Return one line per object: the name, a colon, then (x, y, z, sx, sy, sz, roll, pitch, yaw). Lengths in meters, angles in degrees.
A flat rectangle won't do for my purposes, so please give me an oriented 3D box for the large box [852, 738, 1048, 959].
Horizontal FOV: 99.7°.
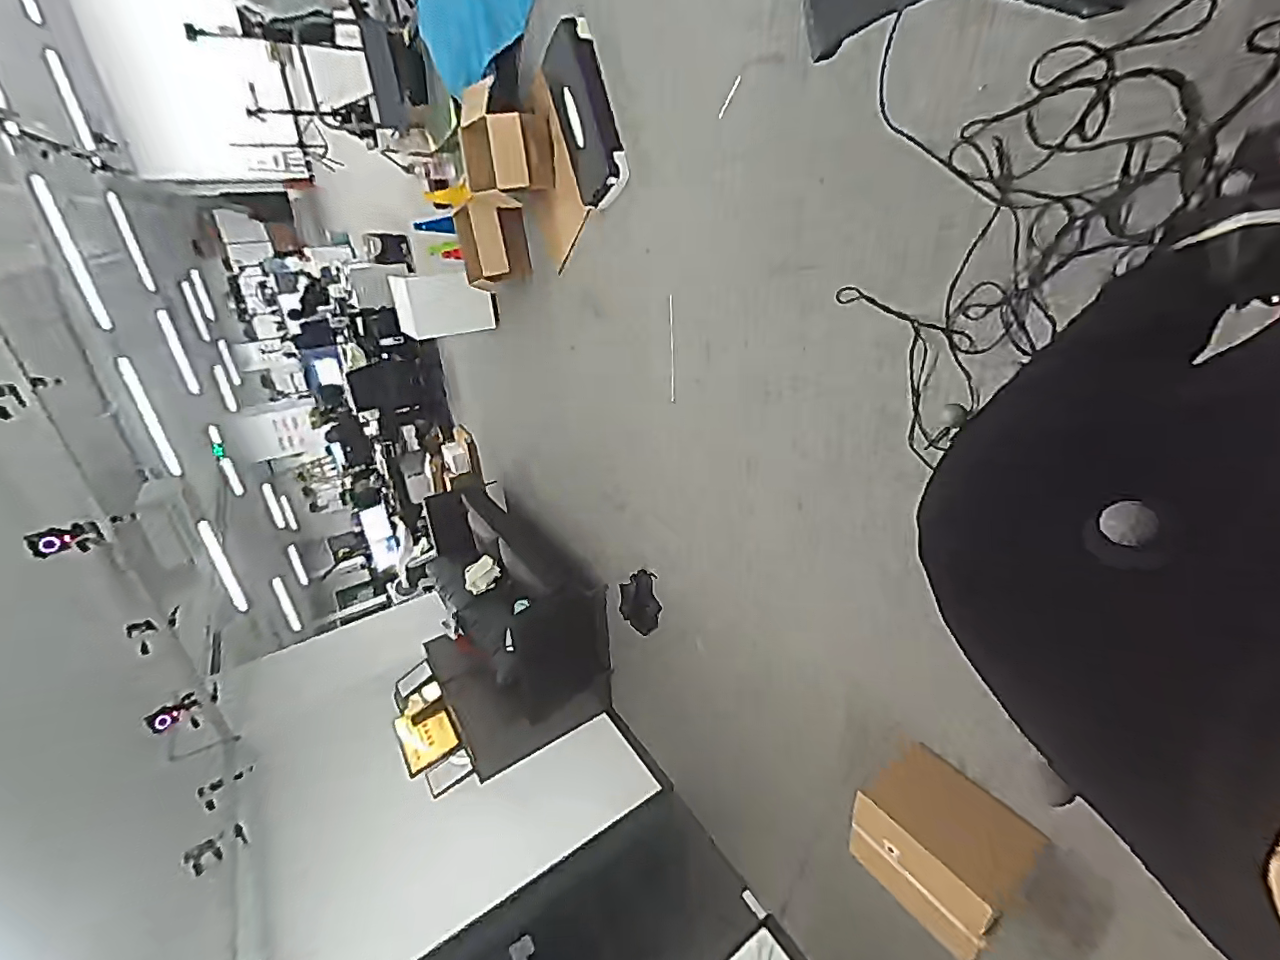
large box: (0.932, 1.104, 1.662, 0.408, 0.320, 0.320, 32, 133, 51)
